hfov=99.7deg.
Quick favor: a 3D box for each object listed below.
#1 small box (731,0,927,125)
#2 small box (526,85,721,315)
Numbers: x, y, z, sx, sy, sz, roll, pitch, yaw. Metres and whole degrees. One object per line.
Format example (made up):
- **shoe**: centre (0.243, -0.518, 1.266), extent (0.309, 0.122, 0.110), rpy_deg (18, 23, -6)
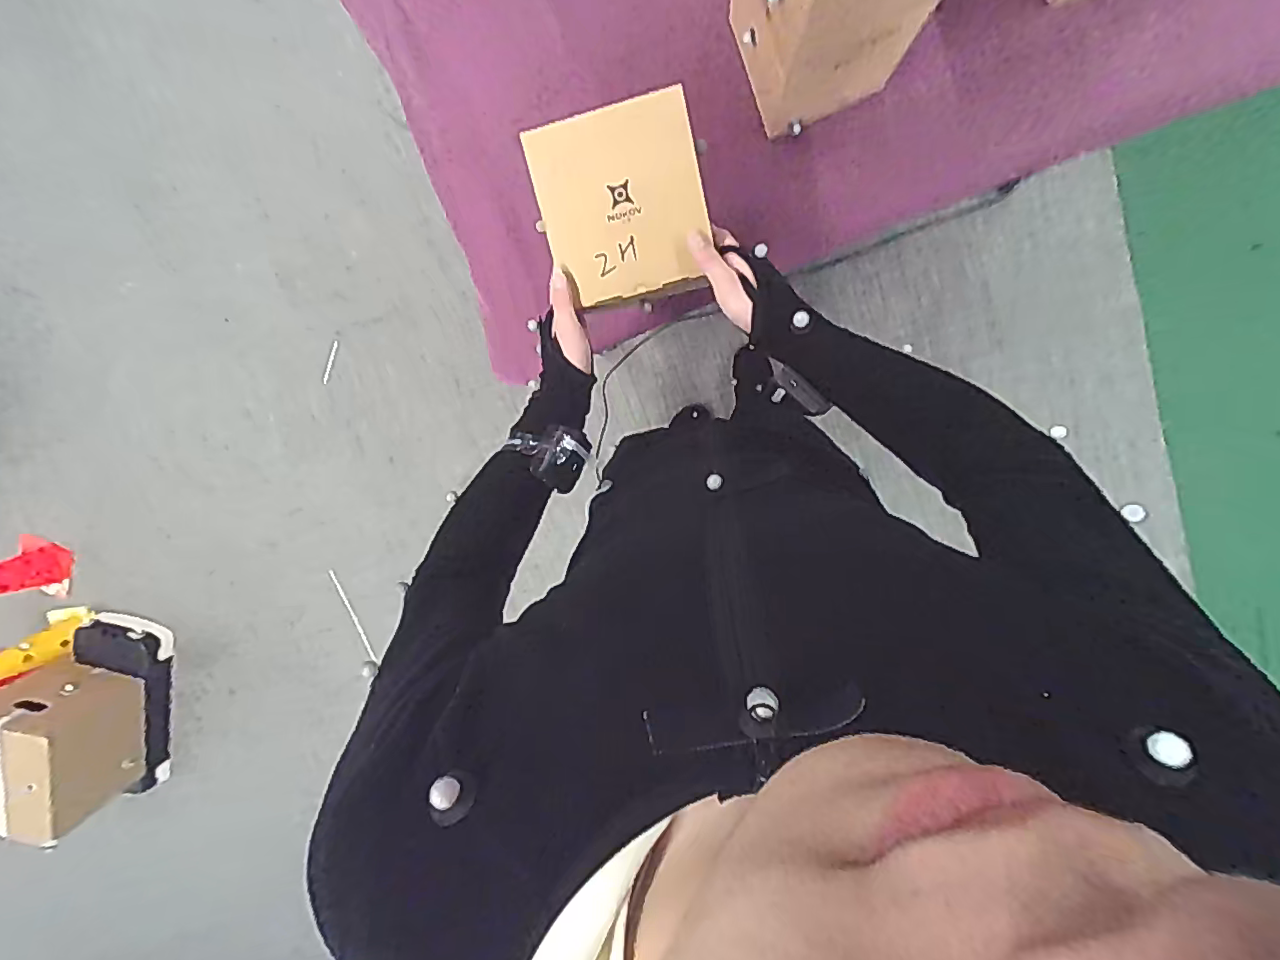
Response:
- **small box**: centre (0.221, -0.583, 0.674), extent (0.168, 0.176, 0.179), rpy_deg (-21, 98, 9)
- **small box**: centre (-0.012, -0.295, 0.613), extent (0.168, 0.176, 0.179), rpy_deg (-12, 105, 6)
